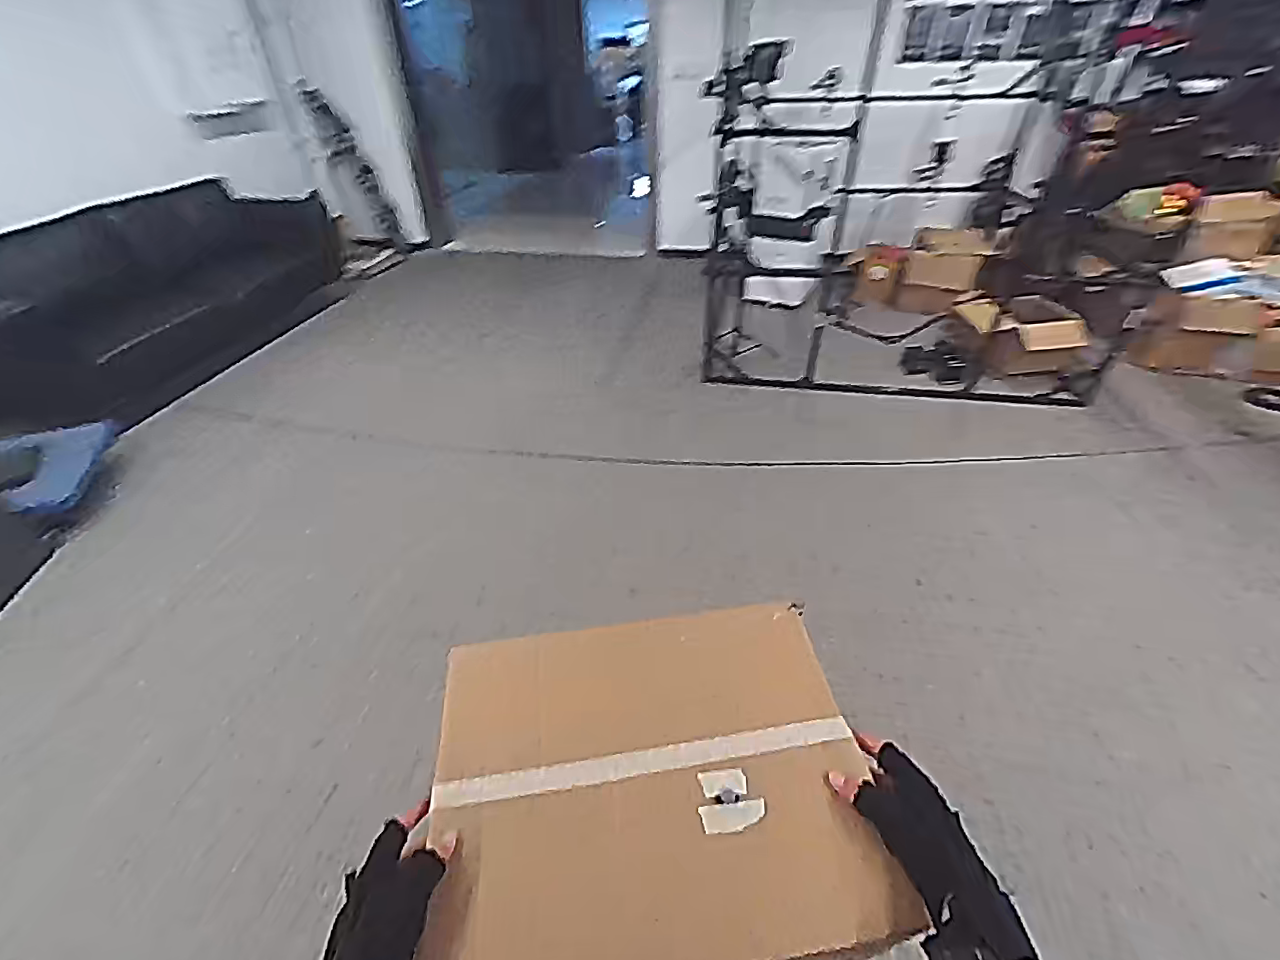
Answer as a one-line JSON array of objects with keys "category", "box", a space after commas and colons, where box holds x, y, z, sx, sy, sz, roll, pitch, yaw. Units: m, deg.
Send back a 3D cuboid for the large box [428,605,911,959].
[{"category": "large box", "box": [0.008, 0.389, 0.631, 0.408, 0.320, 0.320, -7, 43, -7]}]
